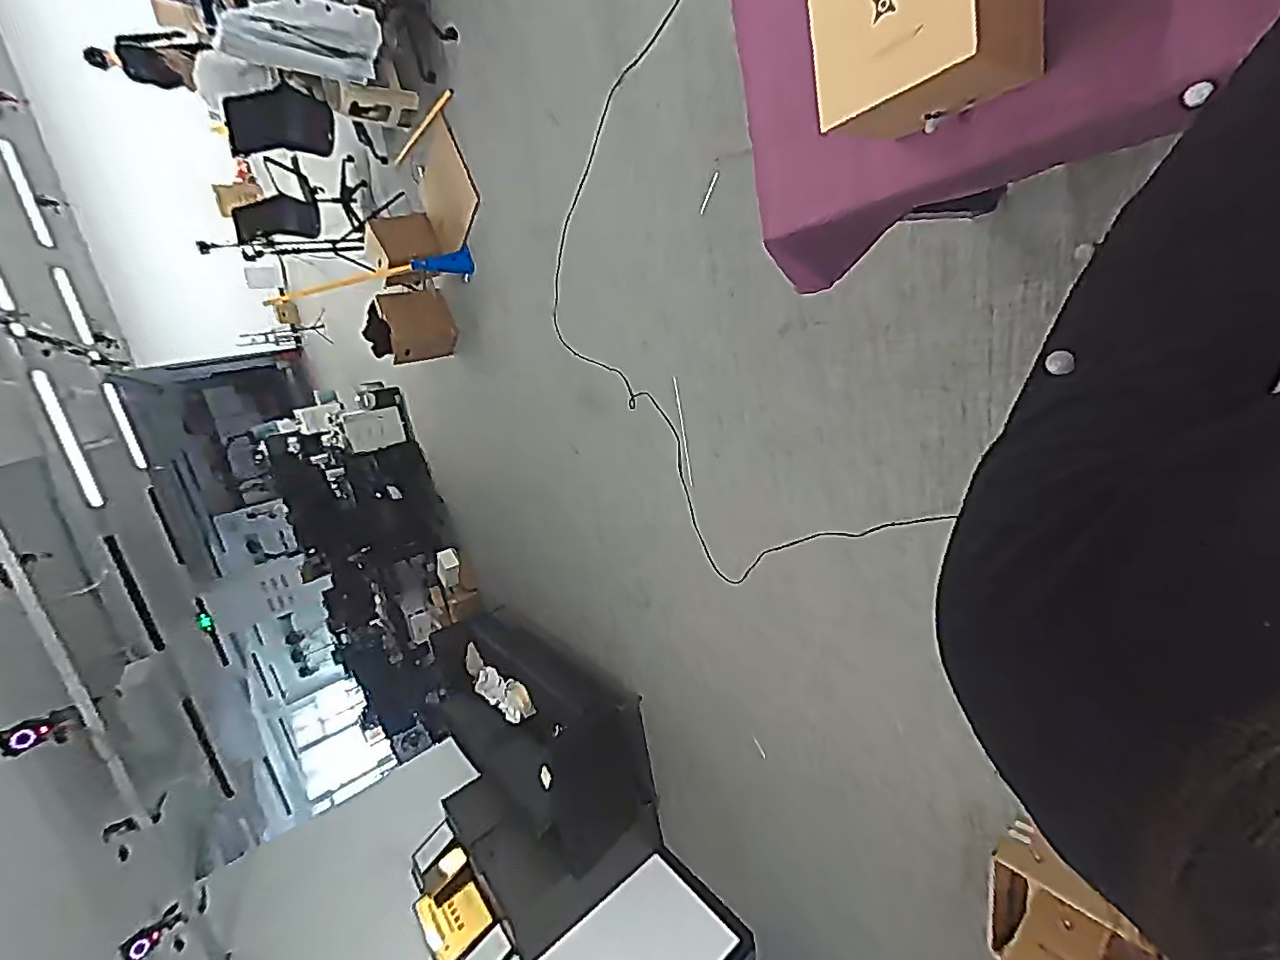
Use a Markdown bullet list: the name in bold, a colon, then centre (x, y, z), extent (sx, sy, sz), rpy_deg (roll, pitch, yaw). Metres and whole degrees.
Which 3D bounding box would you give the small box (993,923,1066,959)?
- **small box**: centre (1.041, 1.345, 1.431), extent (0.168, 0.176, 0.179), rpy_deg (12, 116, 51)

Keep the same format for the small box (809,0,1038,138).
- **small box**: centre (0.306, -0.499, 0.585), extent (0.168, 0.176, 0.179), rpy_deg (9, 114, 53)

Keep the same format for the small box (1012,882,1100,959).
- **small box**: centre (1.168, 1.297, 1.524), extent (0.168, 0.176, 0.179), rpy_deg (11, 115, 51)
